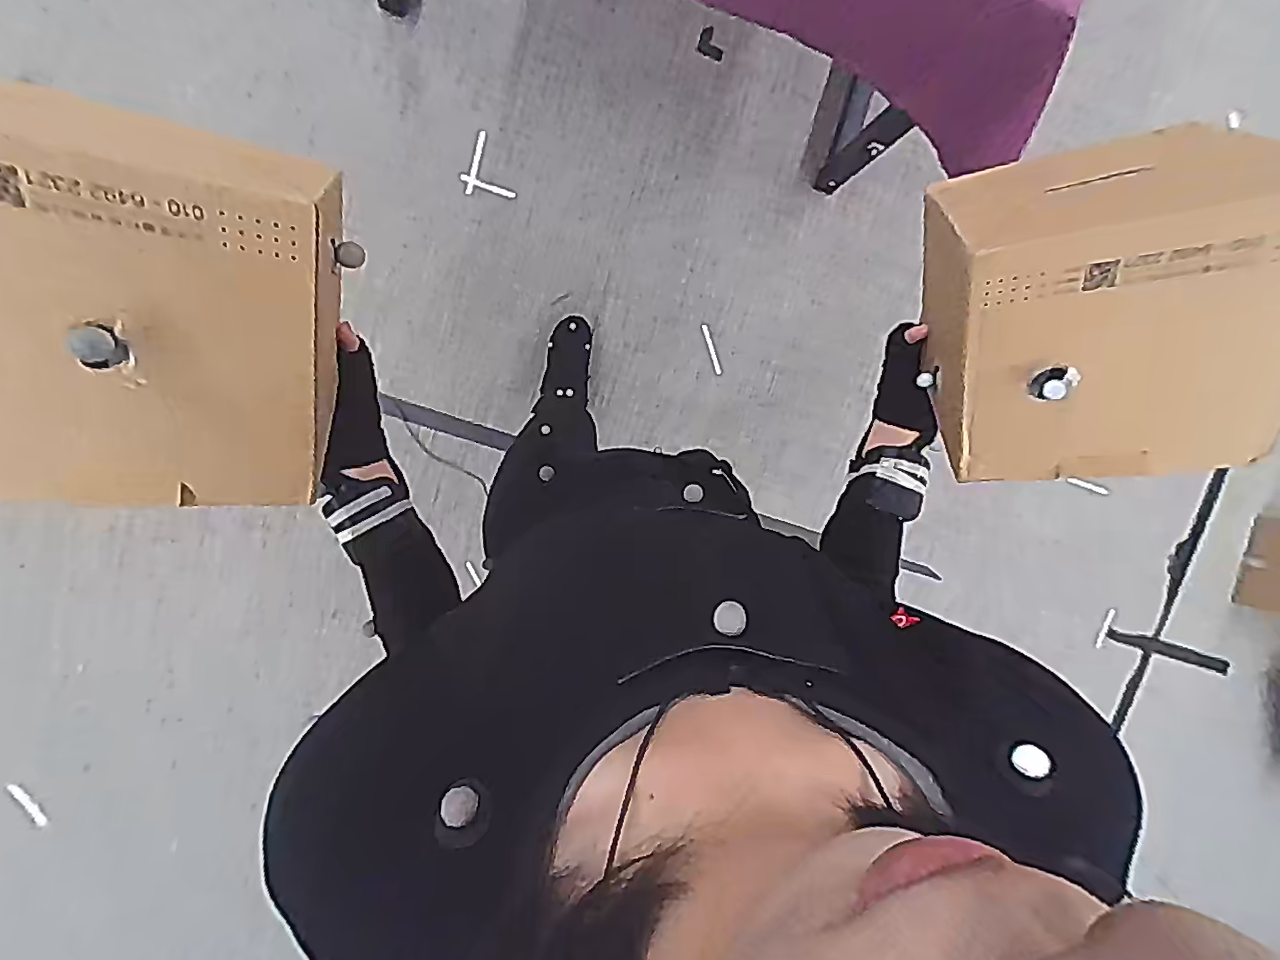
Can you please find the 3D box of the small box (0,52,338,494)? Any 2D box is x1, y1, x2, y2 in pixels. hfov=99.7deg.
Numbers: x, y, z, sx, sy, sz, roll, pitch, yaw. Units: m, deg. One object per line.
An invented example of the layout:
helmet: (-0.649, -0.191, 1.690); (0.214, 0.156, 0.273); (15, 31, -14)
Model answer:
small box: (-0.263, -0.110, 0.290); (0.168, 0.179, 0.176); (4, 120, -27)

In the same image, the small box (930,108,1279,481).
small box: (0.299, -0.121, 0.359); (0.168, 0.179, 0.176); (-3, 128, 21)
